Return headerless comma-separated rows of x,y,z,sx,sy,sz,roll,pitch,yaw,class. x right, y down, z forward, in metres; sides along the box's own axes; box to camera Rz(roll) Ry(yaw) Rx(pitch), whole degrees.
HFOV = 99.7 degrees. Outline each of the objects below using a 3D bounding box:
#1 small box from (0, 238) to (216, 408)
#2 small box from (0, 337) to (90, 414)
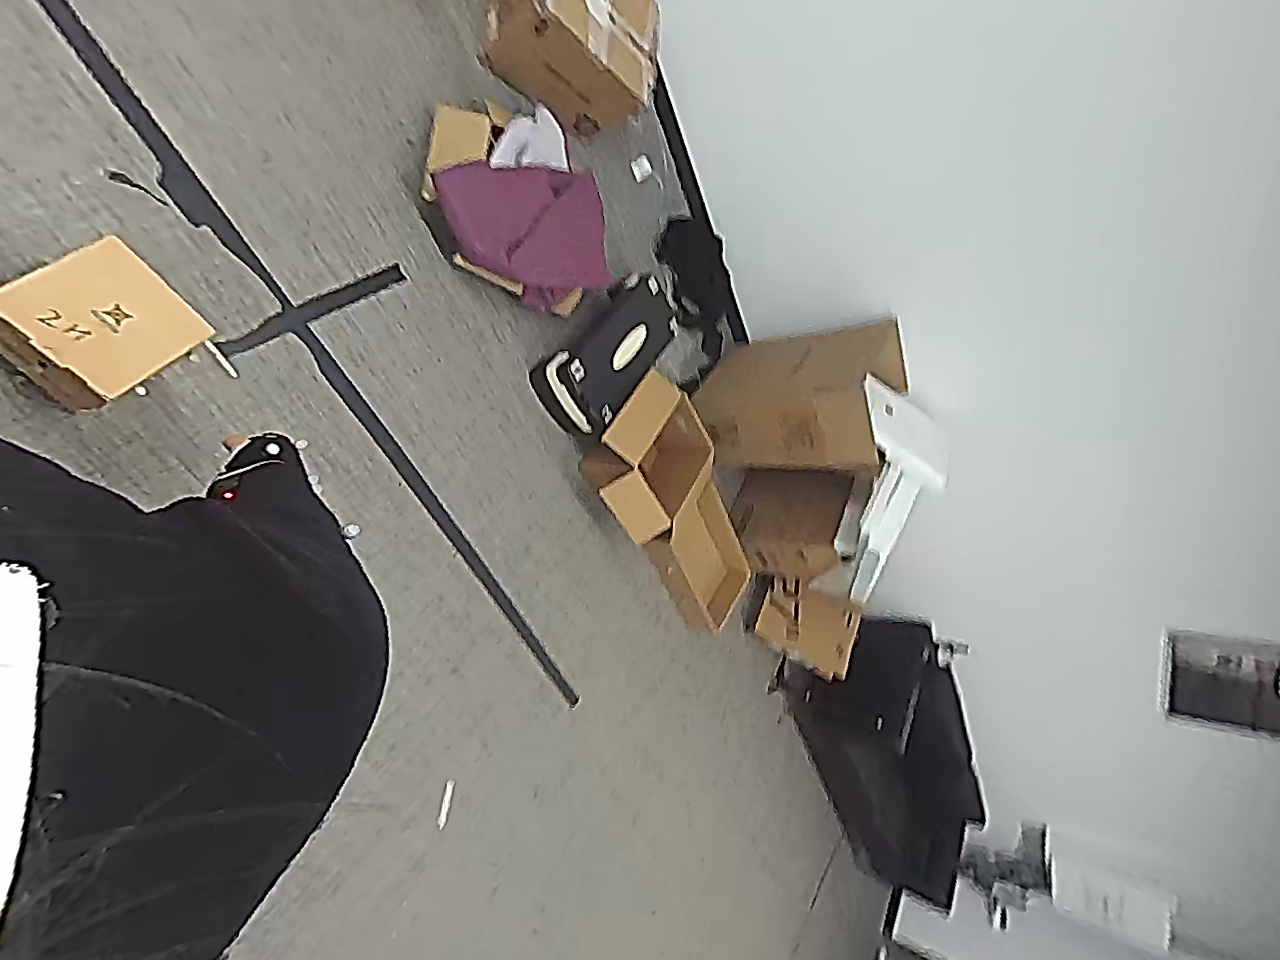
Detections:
-0.797,-0.227,0.807,0.179,0.176,0.168,-56,129,-32,small box
-1.050,-0.242,1.017,0.179,0.176,0.168,-54,128,-32,small box
